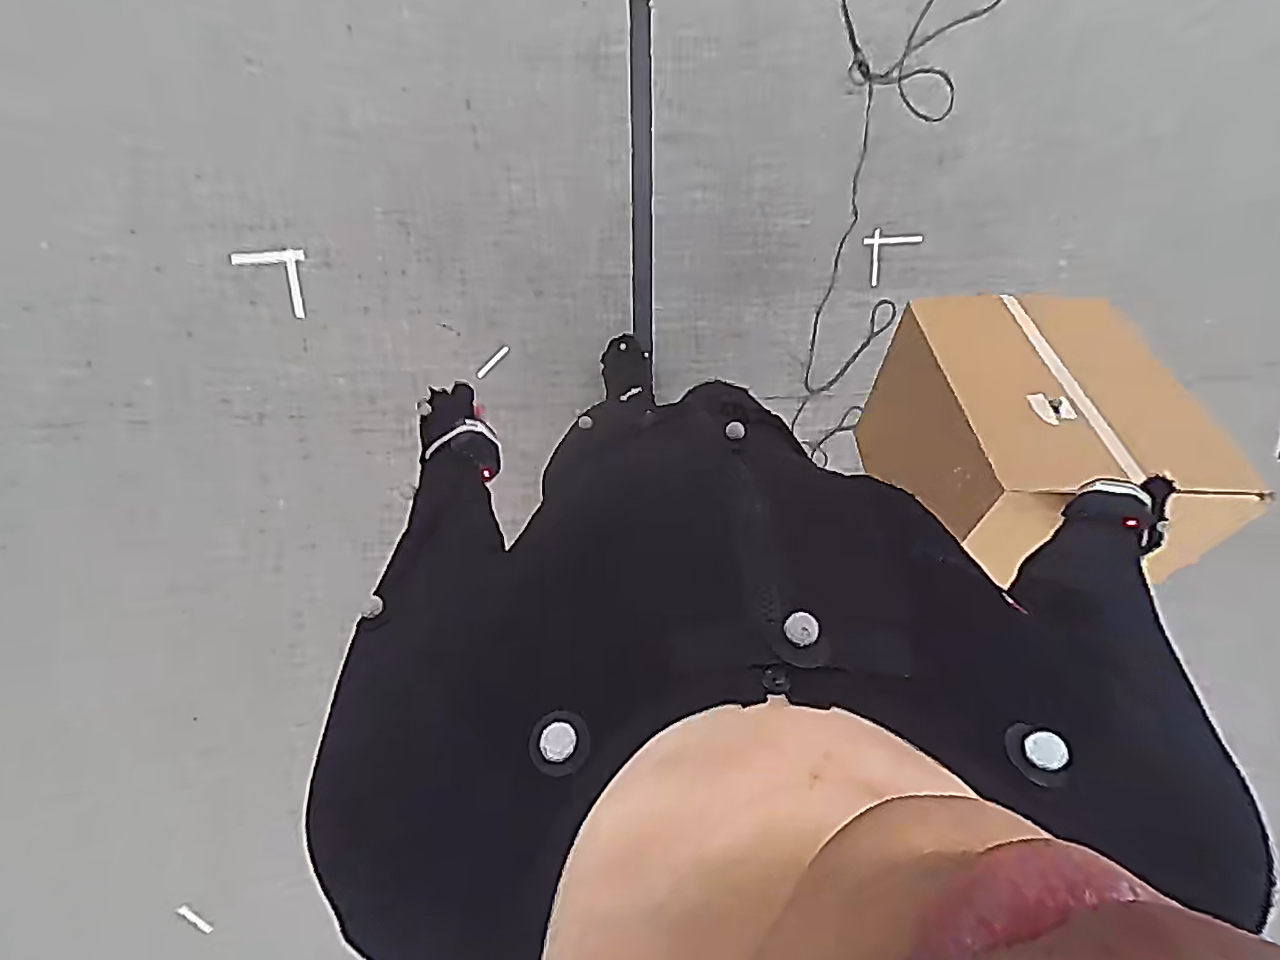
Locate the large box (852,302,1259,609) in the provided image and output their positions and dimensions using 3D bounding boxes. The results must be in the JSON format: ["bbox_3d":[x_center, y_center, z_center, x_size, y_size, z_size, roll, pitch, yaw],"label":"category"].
[{"bbox_3d":[0.588,-0.041,0.883,0.320,0.408,0.320,1,141,1],"label":"large box"}]
